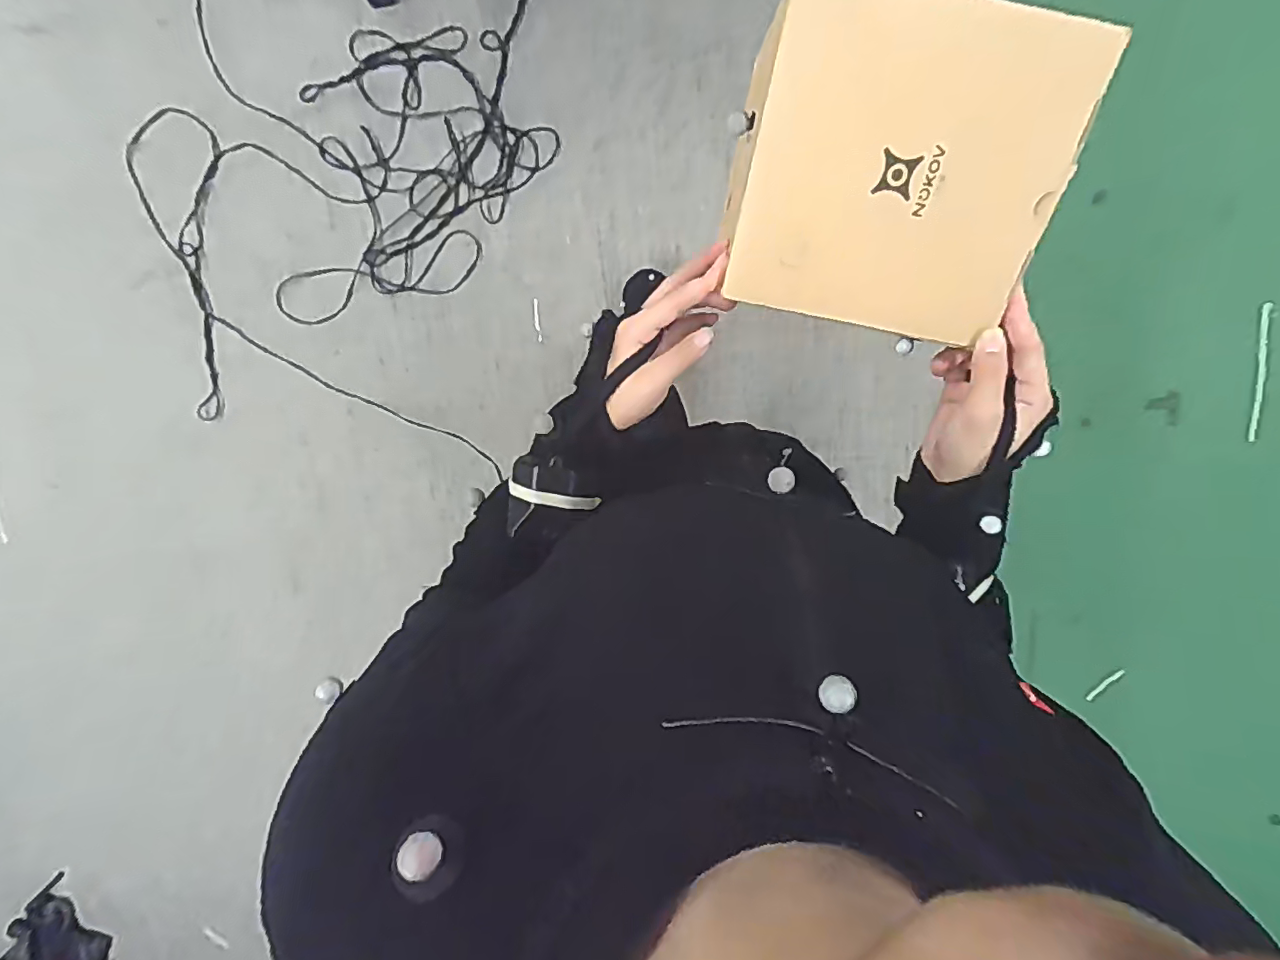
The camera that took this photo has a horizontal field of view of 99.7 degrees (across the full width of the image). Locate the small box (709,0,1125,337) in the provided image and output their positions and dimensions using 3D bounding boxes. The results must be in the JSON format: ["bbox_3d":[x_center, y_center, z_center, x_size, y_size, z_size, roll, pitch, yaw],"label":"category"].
[{"bbox_3d":[0.151,-0.209,0.376,0.179,0.176,0.168,11,114,-2],"label":"small box"}]
